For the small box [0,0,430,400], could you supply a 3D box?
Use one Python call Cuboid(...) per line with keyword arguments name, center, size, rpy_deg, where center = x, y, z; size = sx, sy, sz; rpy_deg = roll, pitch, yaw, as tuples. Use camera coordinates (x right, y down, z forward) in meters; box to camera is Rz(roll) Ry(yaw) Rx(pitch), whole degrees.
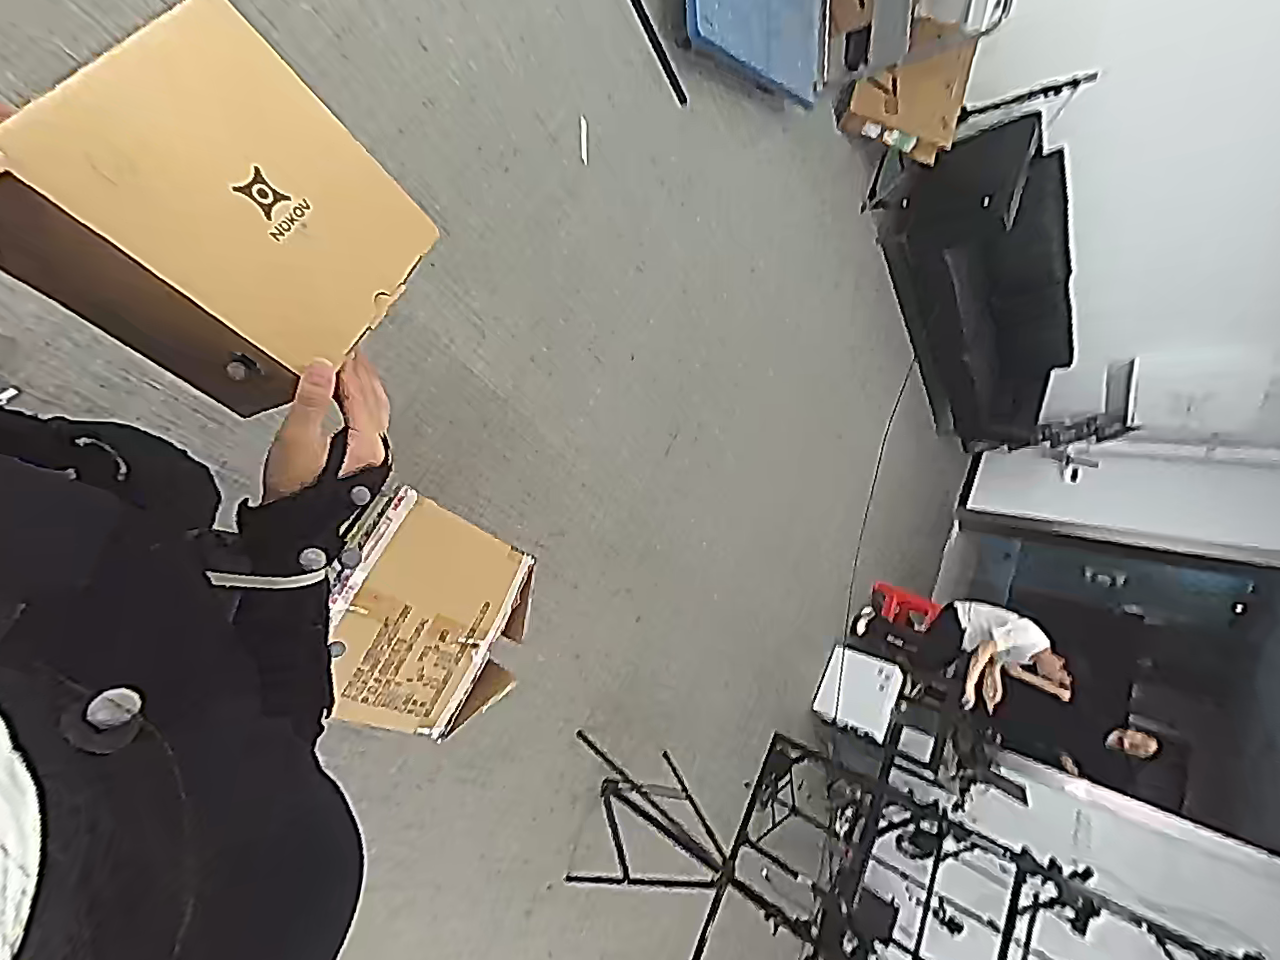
Cuboid(name="small box", center=(-0.300, -0.174, 0.388), size=(0.179, 0.176, 0.168), rpy_deg=(45, 55, -41))
